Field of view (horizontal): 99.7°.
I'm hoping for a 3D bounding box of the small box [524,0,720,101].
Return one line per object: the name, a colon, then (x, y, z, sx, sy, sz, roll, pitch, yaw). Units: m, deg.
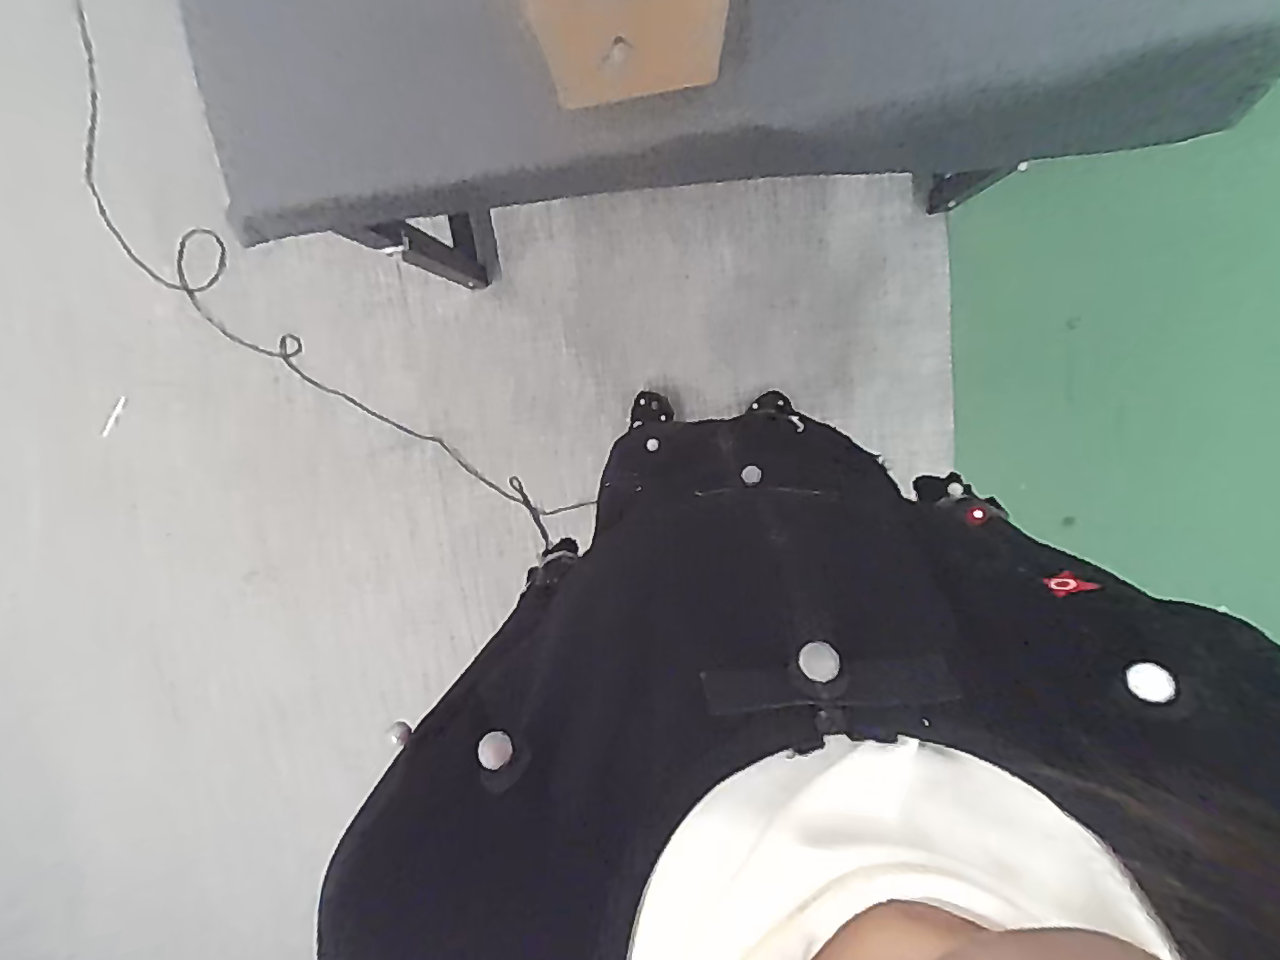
small box: (-0.017, -0.501, 0.519, 0.179, 0.176, 0.168, -7, 99, 4)
